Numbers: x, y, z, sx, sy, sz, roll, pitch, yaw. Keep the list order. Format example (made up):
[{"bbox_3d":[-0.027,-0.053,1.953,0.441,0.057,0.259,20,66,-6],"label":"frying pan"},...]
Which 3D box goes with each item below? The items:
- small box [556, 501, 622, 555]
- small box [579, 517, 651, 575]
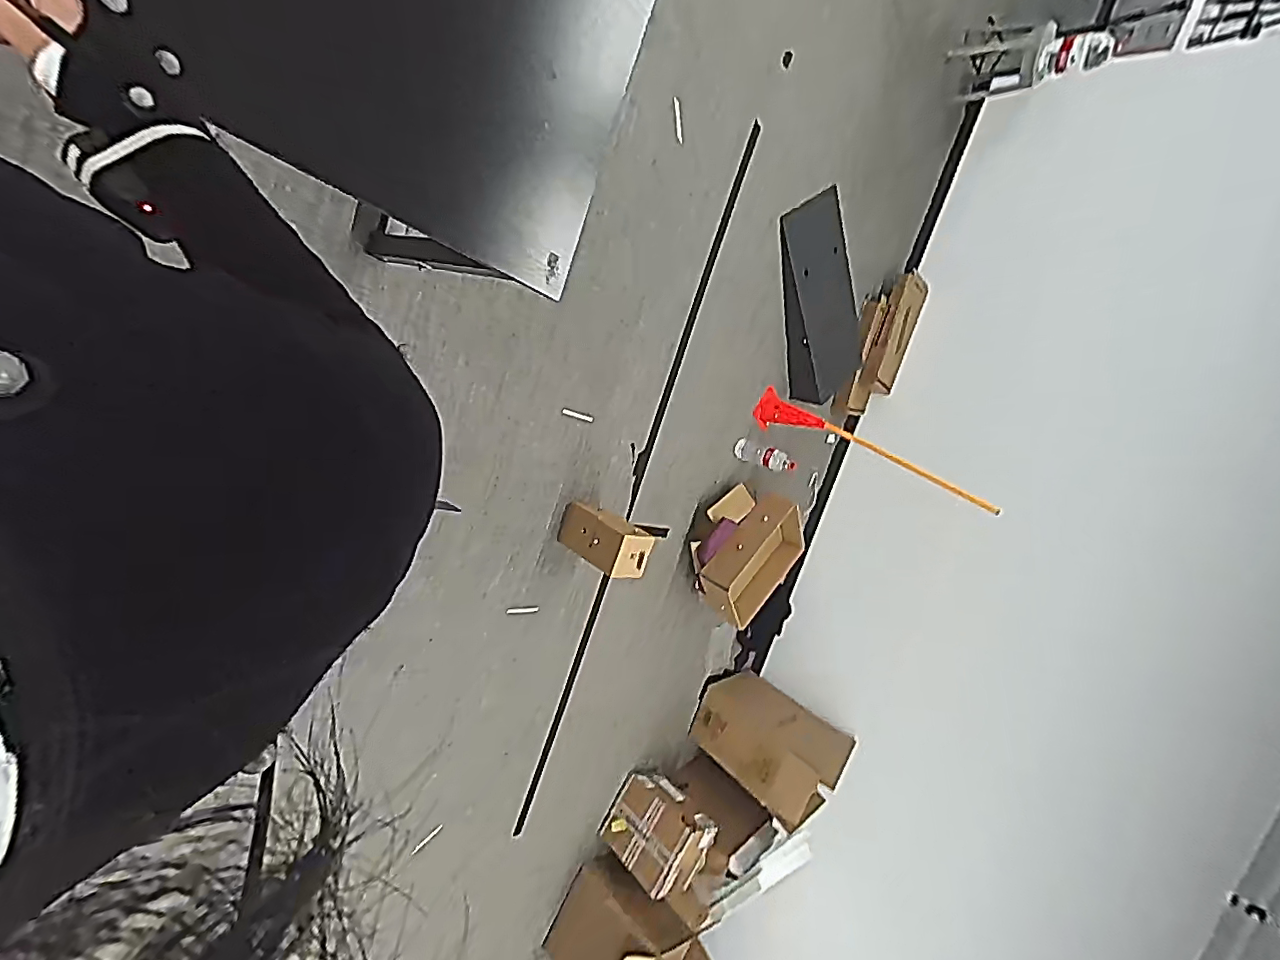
[{"bbox_3d":[-0.206,0.193,2.137,0.168,0.176,0.179,12,100,-49],"label":"small box"},{"bbox_3d":[-0.095,0.248,2.029,0.179,0.176,0.168,12,100,-49],"label":"small box"}]
